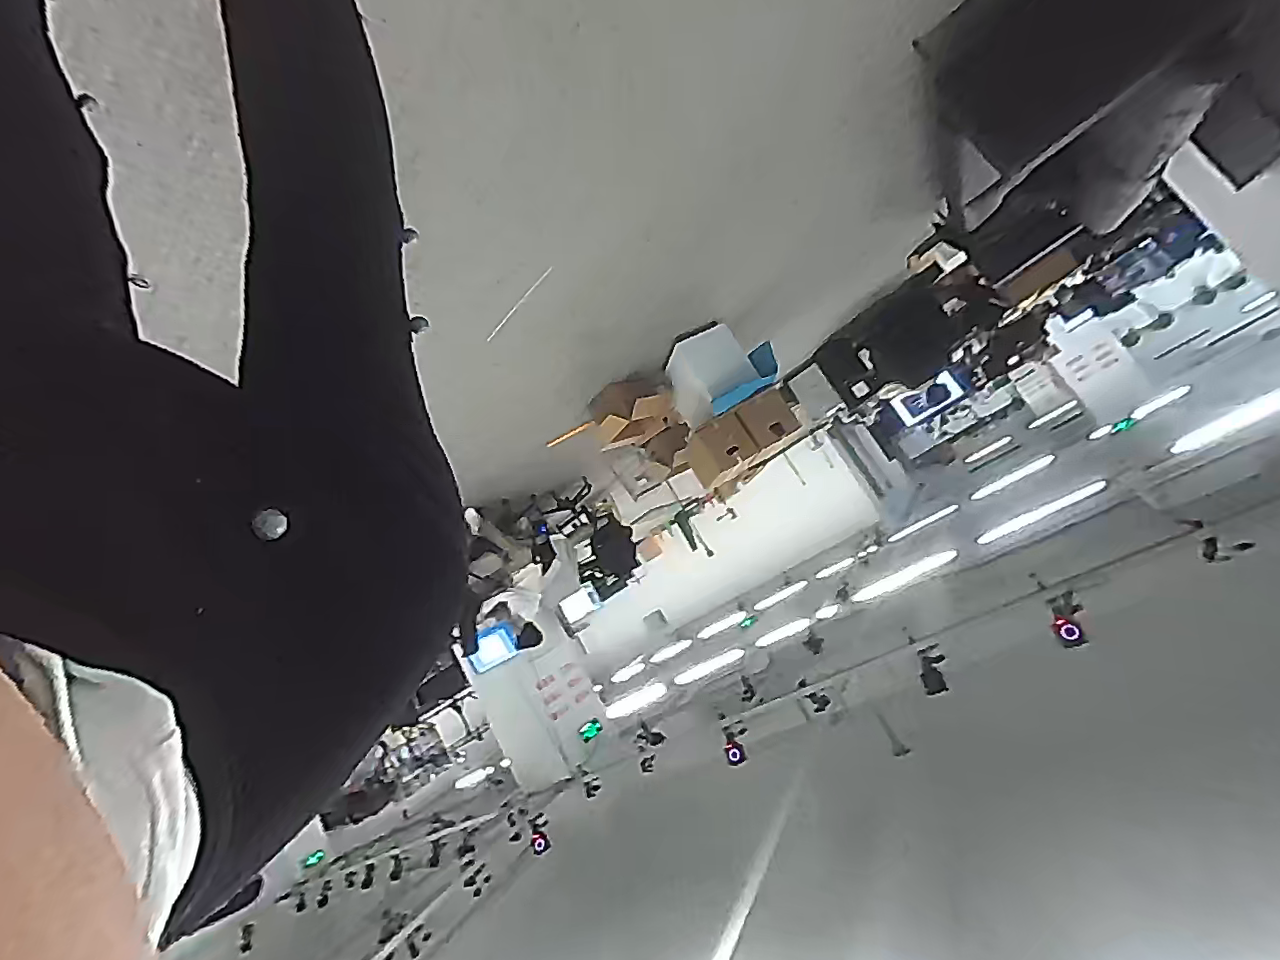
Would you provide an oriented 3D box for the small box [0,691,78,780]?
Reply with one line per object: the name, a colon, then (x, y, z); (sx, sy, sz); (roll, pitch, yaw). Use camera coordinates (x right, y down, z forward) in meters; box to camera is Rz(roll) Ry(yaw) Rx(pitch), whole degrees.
small box: (-1.782, 0.738, 1.567); (0.179, 0.176, 0.168); (-36, 167, 31)
